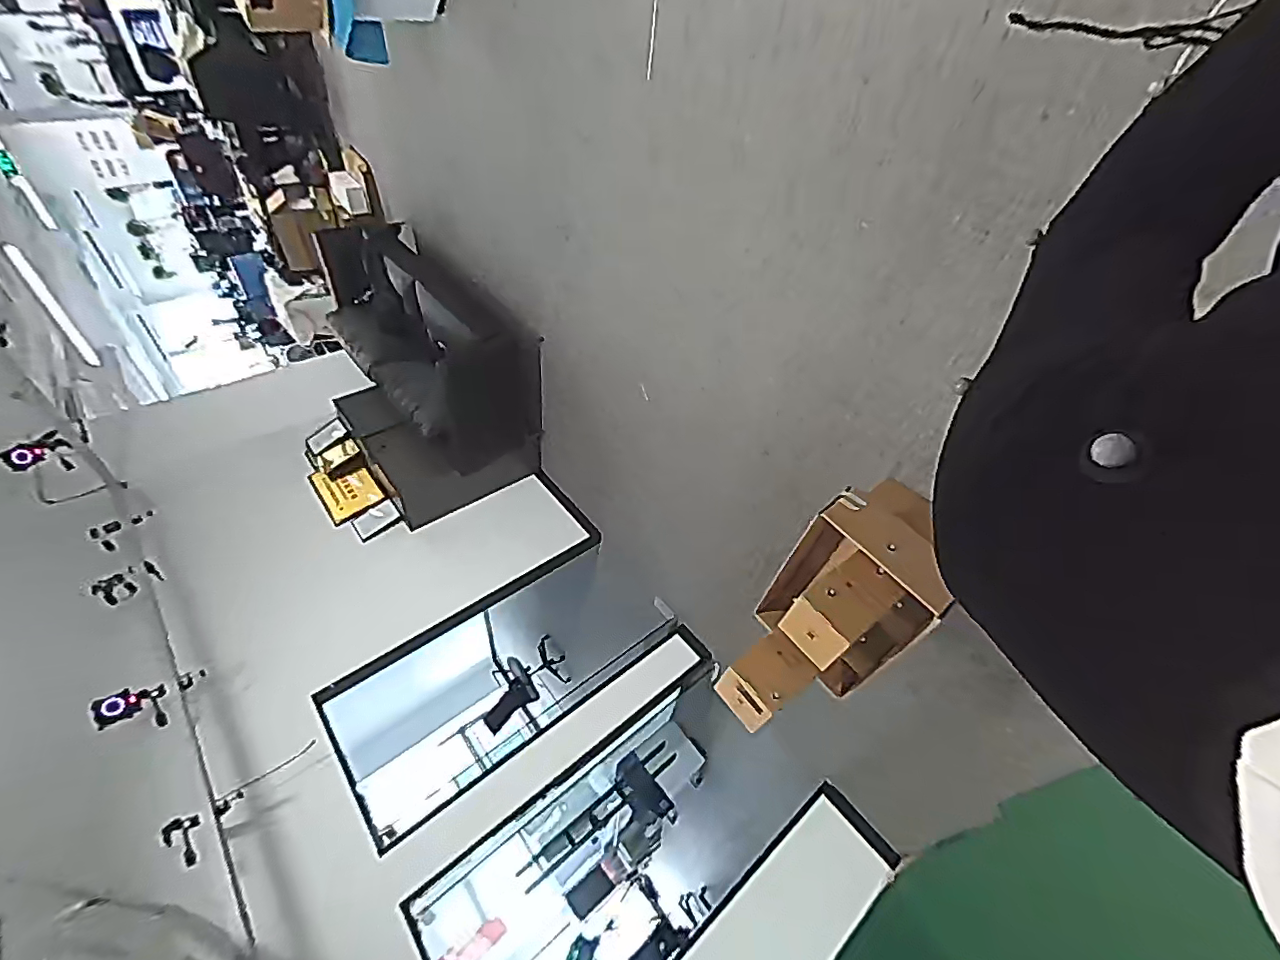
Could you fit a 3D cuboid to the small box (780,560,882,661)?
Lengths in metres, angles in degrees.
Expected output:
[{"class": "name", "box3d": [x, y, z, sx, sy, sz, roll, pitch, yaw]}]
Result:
[{"class": "small box", "box3d": [0.516, 0.346, 1.454, 0.168, 0.176, 0.179, 47, 148, 26]}]

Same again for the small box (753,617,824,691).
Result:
[{"class": "small box", "box3d": [0.481, 0.501, 1.645, 0.168, 0.176, 0.179, 46, 145, 27]}]
